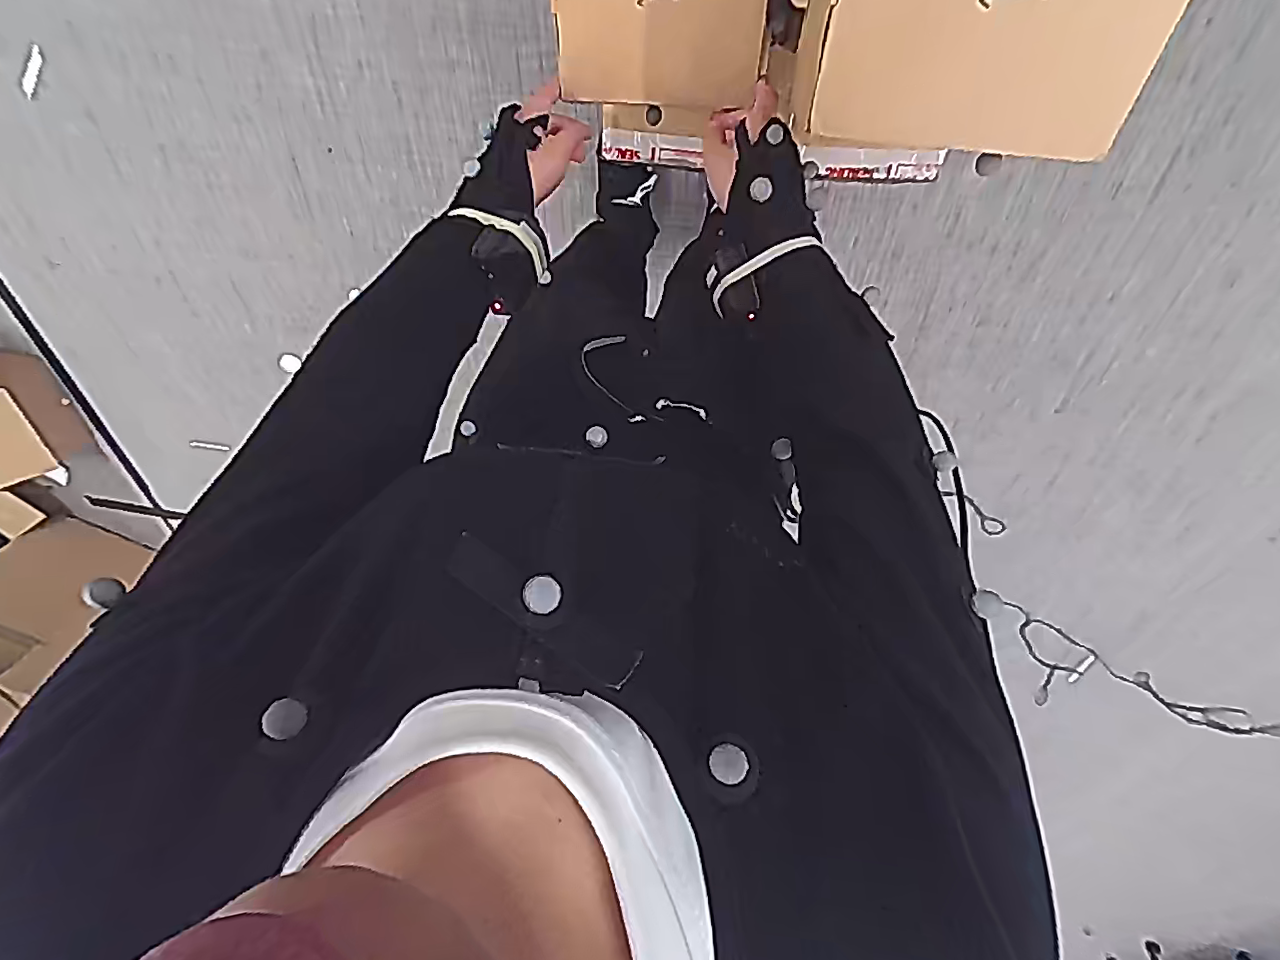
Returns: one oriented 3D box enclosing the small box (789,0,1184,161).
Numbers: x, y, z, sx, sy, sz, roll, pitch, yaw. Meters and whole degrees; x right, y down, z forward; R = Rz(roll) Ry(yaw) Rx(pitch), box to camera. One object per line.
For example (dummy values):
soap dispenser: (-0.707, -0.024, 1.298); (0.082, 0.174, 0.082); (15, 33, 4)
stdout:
small box: (0.199, -0.311, 0.328); (0.179, 0.176, 0.168); (9, 131, 4)
